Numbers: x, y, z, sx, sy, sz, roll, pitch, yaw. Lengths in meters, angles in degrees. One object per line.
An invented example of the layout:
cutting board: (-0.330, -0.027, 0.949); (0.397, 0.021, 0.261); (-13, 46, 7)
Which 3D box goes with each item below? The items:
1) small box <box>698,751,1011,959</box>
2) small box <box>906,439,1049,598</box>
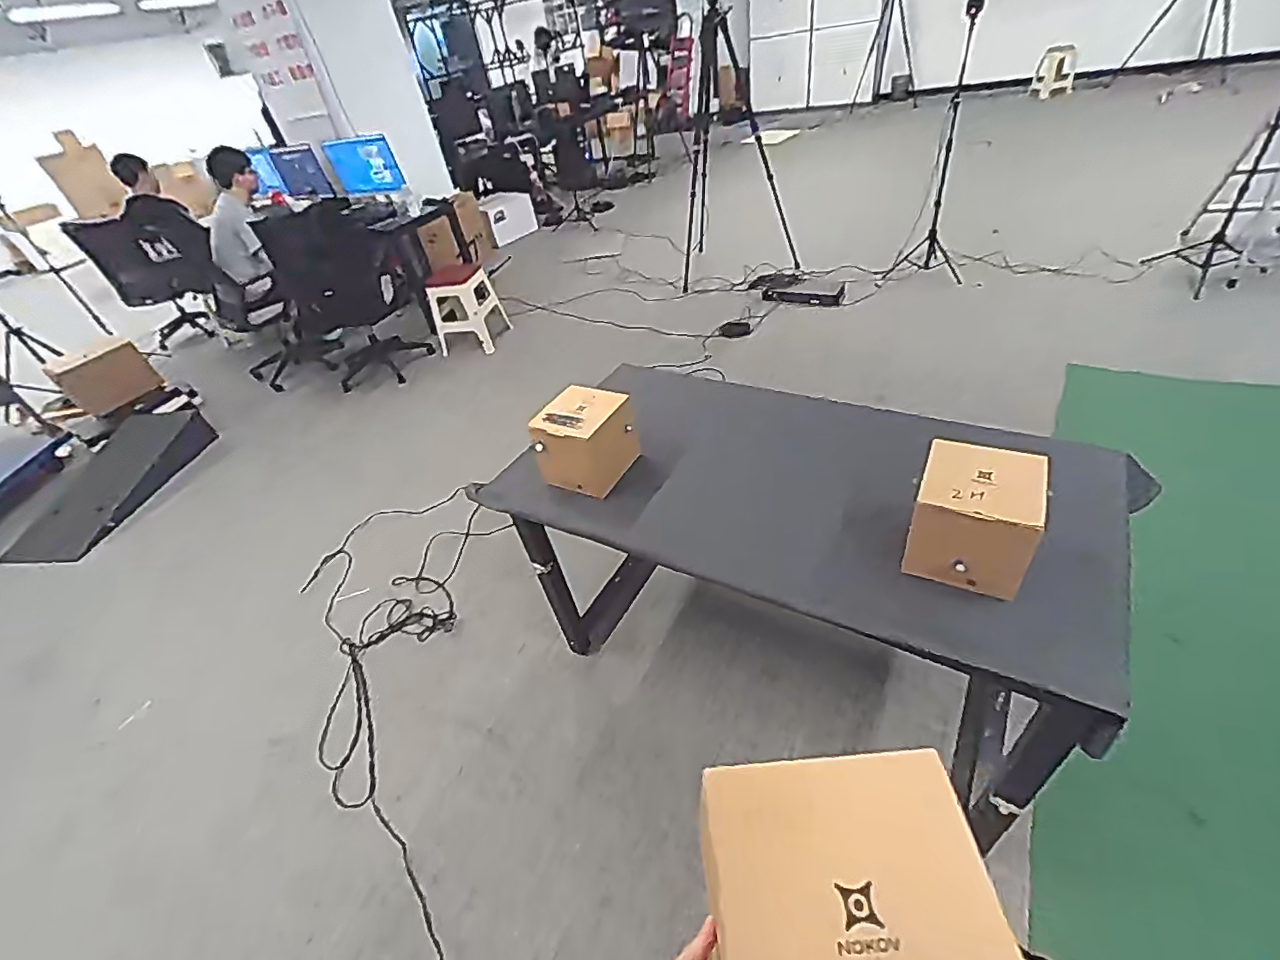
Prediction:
small box: (0.132, 0.317, 0.379); (0.168, 0.176, 0.179); (-7, 46, 1)
small box: (0.551, 0.060, 0.894); (0.168, 0.176, 0.179); (13, 46, 29)
